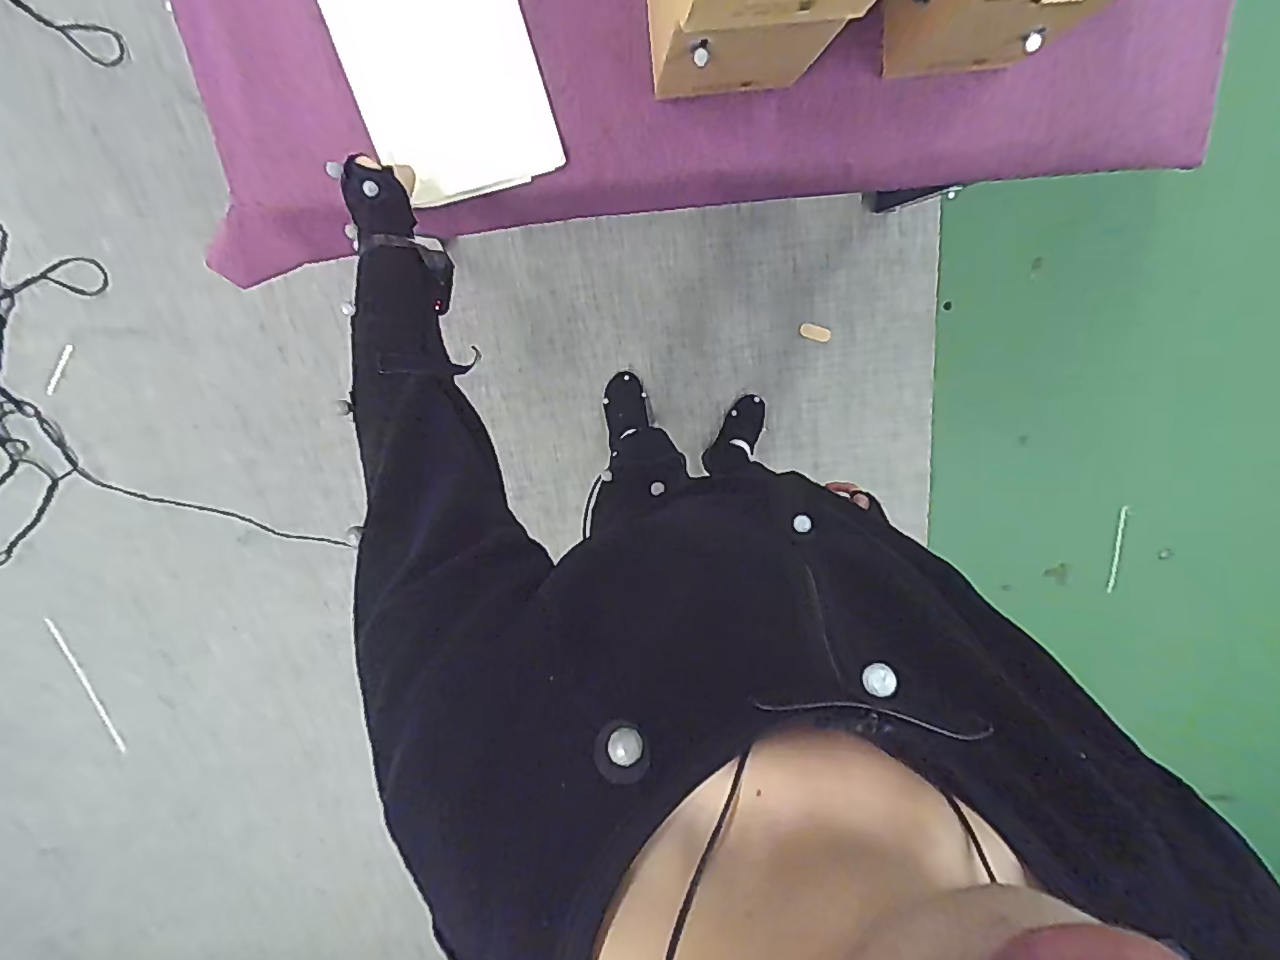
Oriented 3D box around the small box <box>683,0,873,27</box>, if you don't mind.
[{"bbox_3d":[0.117,-0.457,0.379,0.168,0.176,0.179,-7,106,-4],"label":"small box"}]
